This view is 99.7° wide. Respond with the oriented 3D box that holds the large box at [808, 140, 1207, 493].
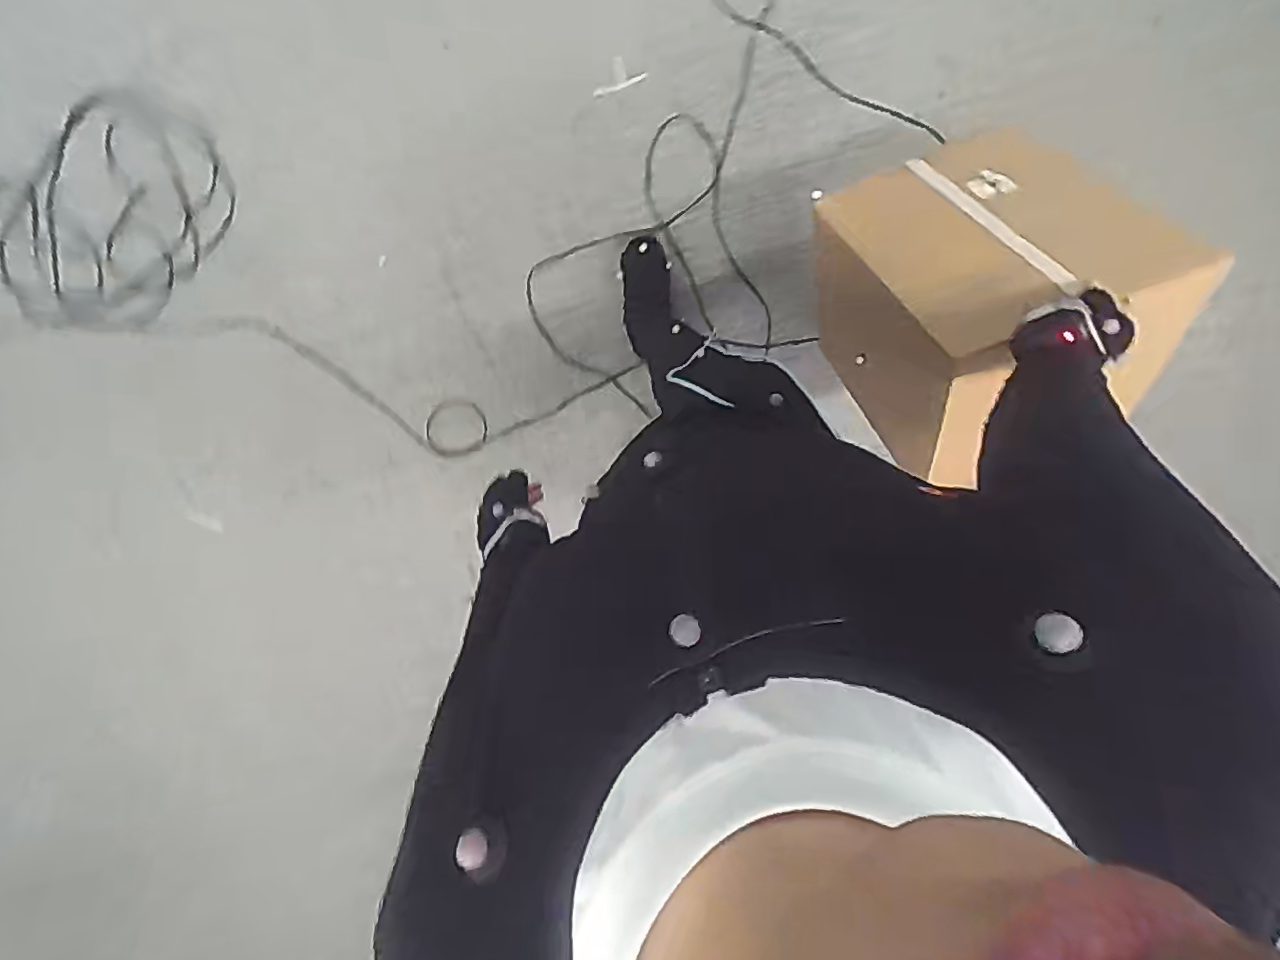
[{"bbox_3d":[0.507,-0.257,0.863,0.320,0.408,0.320,-20,141,5],"label":"large box"}]
